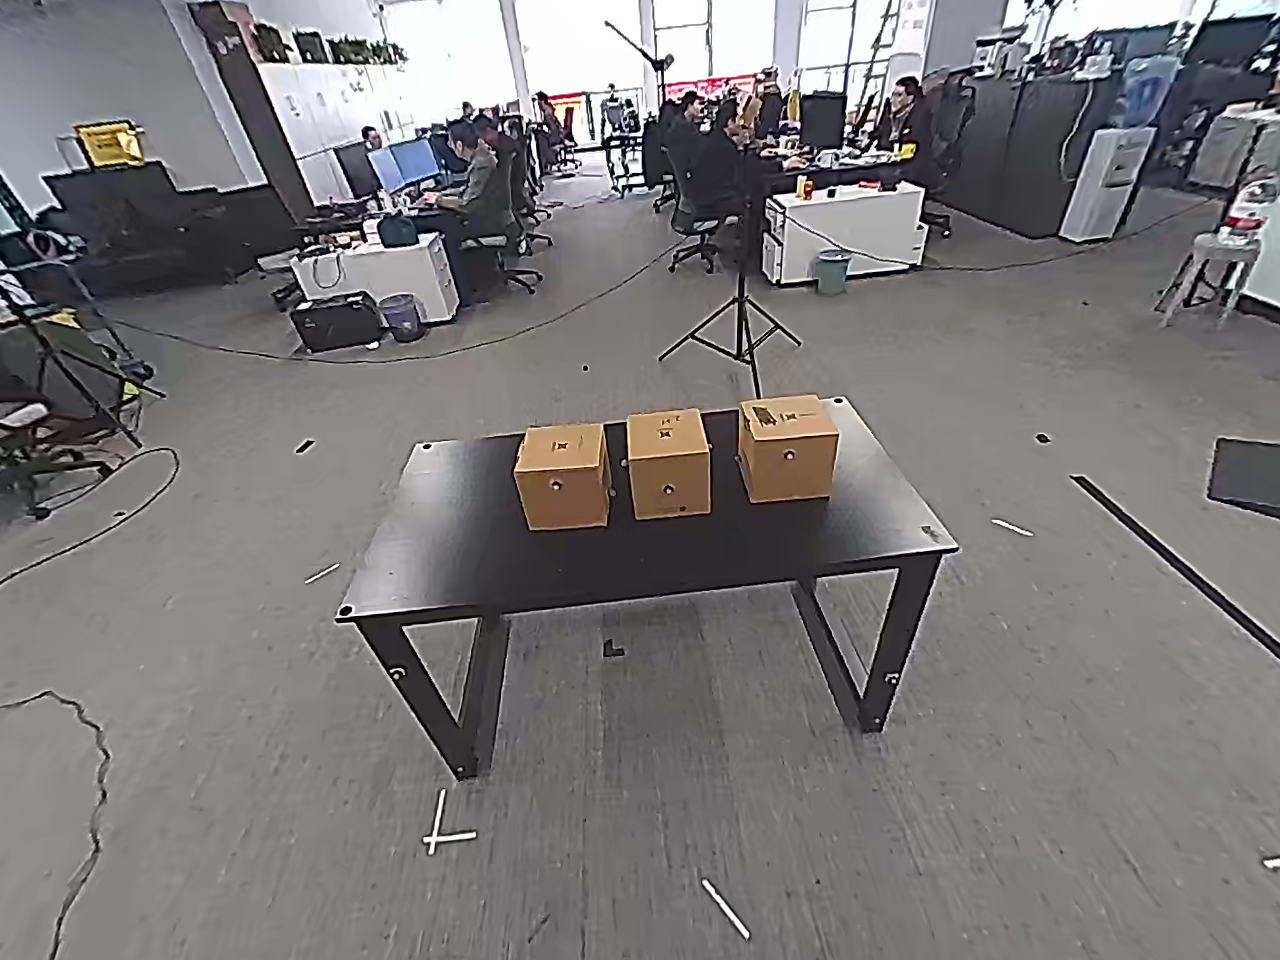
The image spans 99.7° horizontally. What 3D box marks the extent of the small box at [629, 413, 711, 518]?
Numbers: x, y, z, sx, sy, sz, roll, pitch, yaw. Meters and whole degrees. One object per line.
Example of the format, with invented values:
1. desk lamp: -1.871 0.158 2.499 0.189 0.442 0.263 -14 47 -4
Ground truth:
1. small box: 0.067 -0.027 1.210 0.168 0.176 0.179 -5 37 1

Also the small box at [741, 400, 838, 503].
1. small box: 0.325 -0.061 1.214 0.179 0.176 0.168 -5 37 2
